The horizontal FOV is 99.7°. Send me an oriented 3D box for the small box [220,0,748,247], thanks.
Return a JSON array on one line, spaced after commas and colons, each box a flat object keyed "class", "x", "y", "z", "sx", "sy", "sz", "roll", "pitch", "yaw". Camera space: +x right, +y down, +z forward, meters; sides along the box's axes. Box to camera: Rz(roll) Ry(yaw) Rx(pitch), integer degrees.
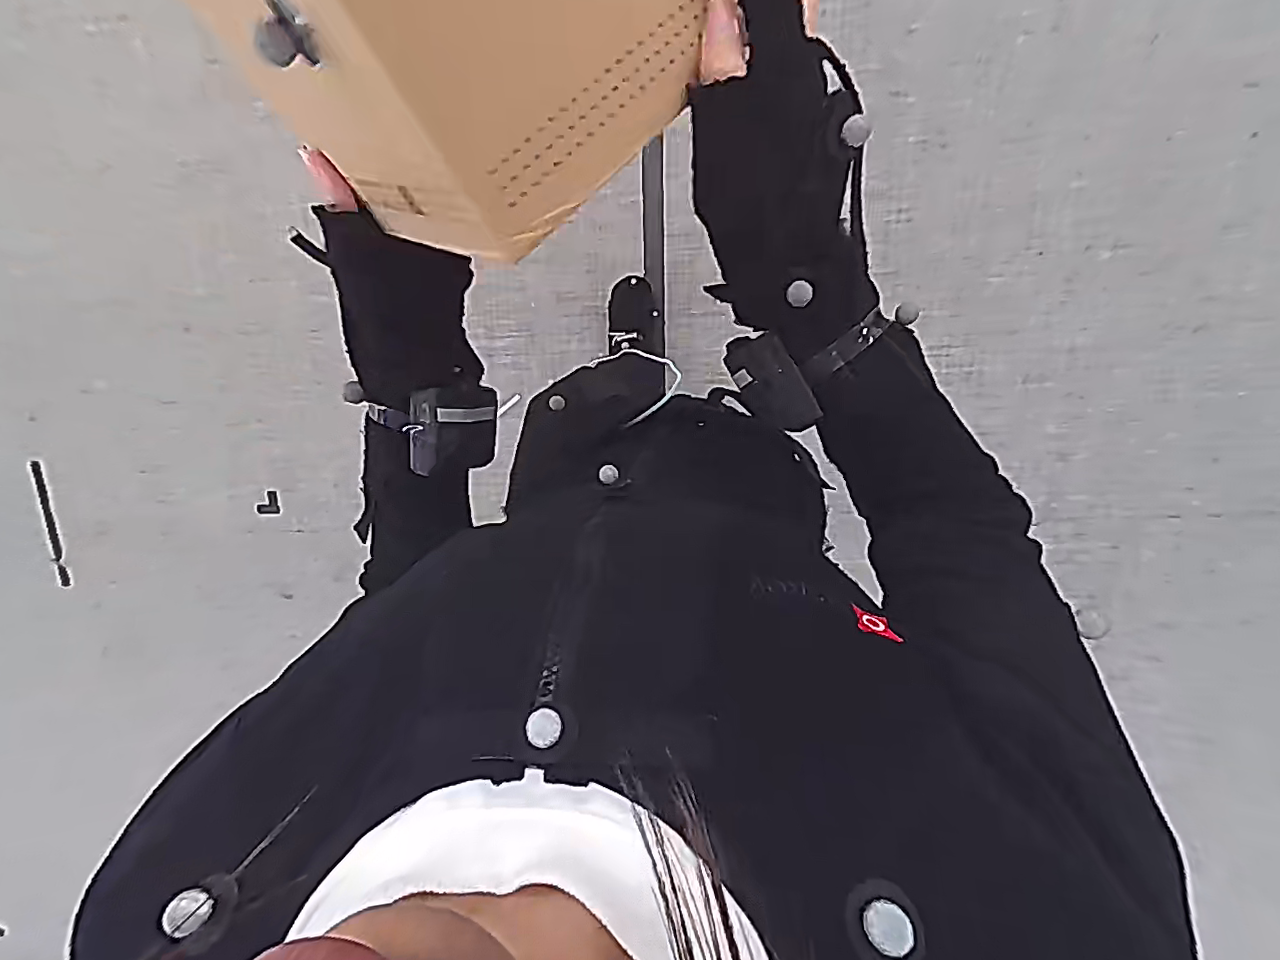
[{"class": "small box", "x": -0.074, "y": -0.232, "z": 0.240, "sx": 0.179, "sy": 0.168, "sz": 0.176, "roll": -49, "pitch": 140, "yaw": -14}]
